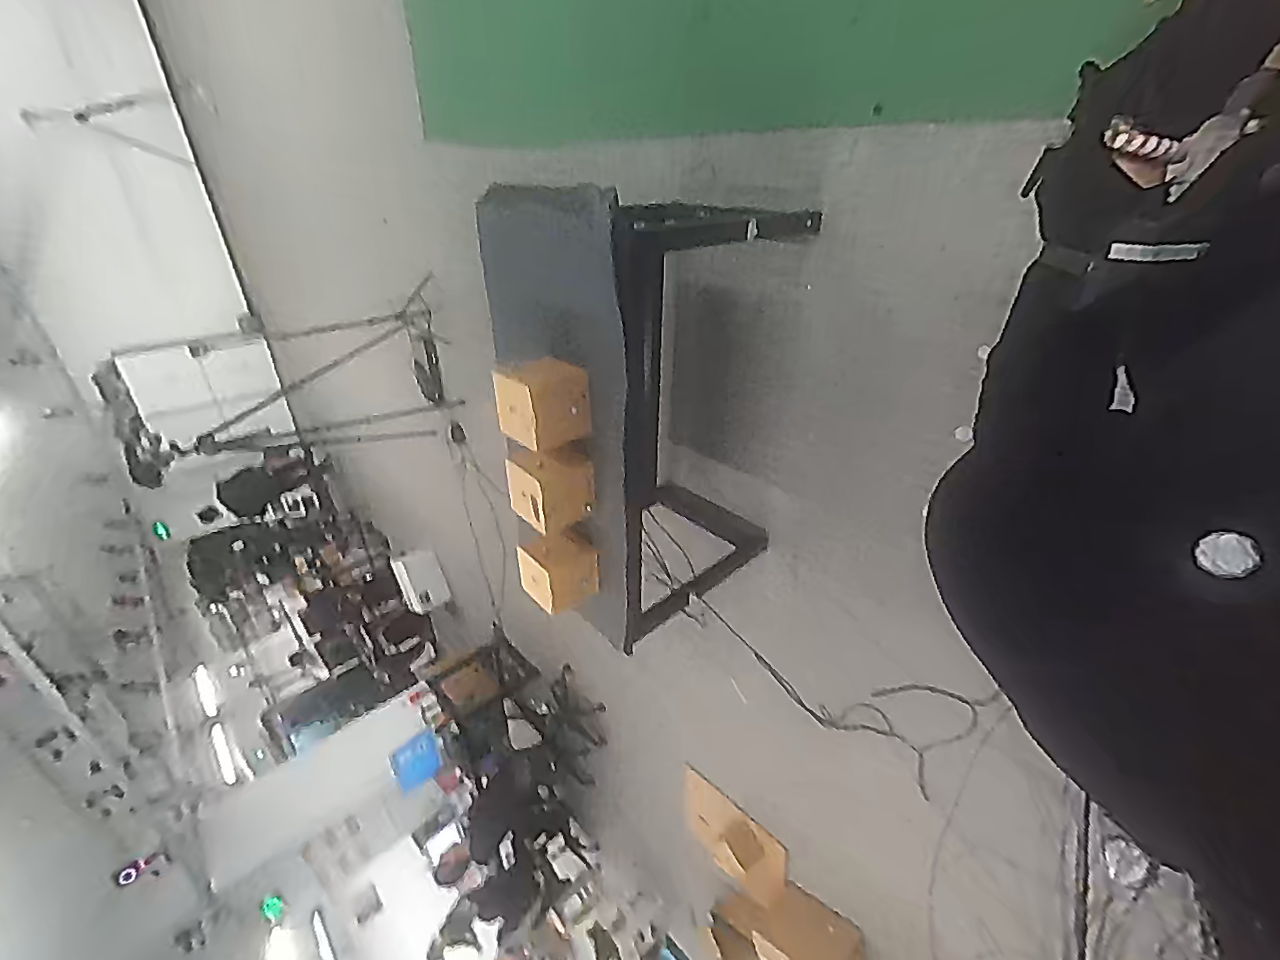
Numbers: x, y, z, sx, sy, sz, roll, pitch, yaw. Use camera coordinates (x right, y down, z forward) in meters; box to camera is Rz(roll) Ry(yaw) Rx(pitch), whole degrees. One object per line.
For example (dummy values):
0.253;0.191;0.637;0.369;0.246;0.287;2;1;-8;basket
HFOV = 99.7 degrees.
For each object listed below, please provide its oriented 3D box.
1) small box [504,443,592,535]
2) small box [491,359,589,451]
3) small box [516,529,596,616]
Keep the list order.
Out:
-0.243;0.016;1.463;0.179;0.176;0.168;30;131;39;small box
-0.244;-0.195;1.343;0.179;0.176;0.168;28;130;40;small box
-0.247;0.264;1.610;0.179;0.176;0.168;28;130;40;small box
